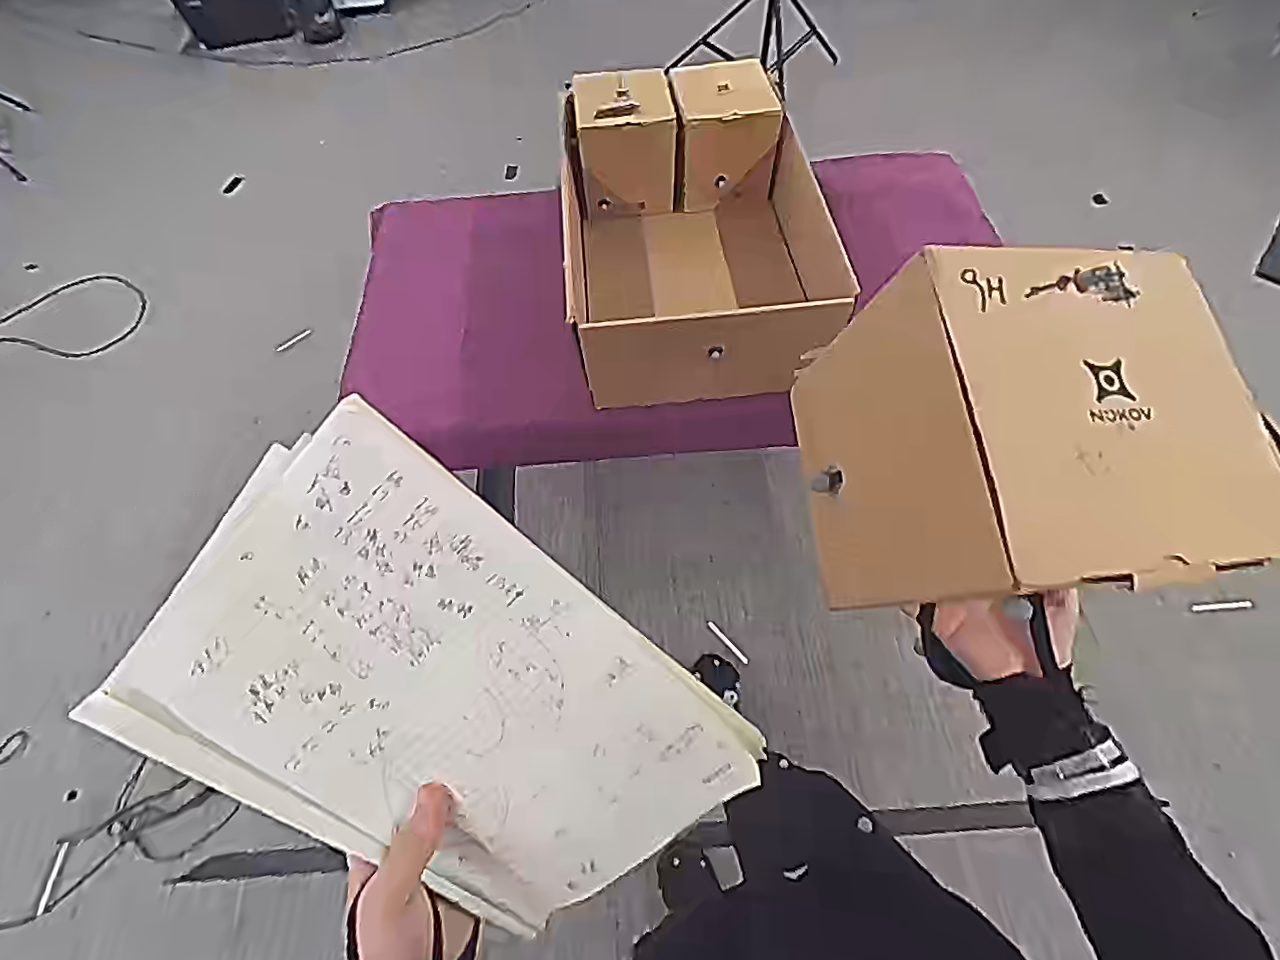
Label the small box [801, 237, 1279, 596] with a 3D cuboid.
[{"bbox_3d":[0.221,-0.021,0.340,0.168,0.176,0.179,-2,75,-10],"label":"small box"}]
